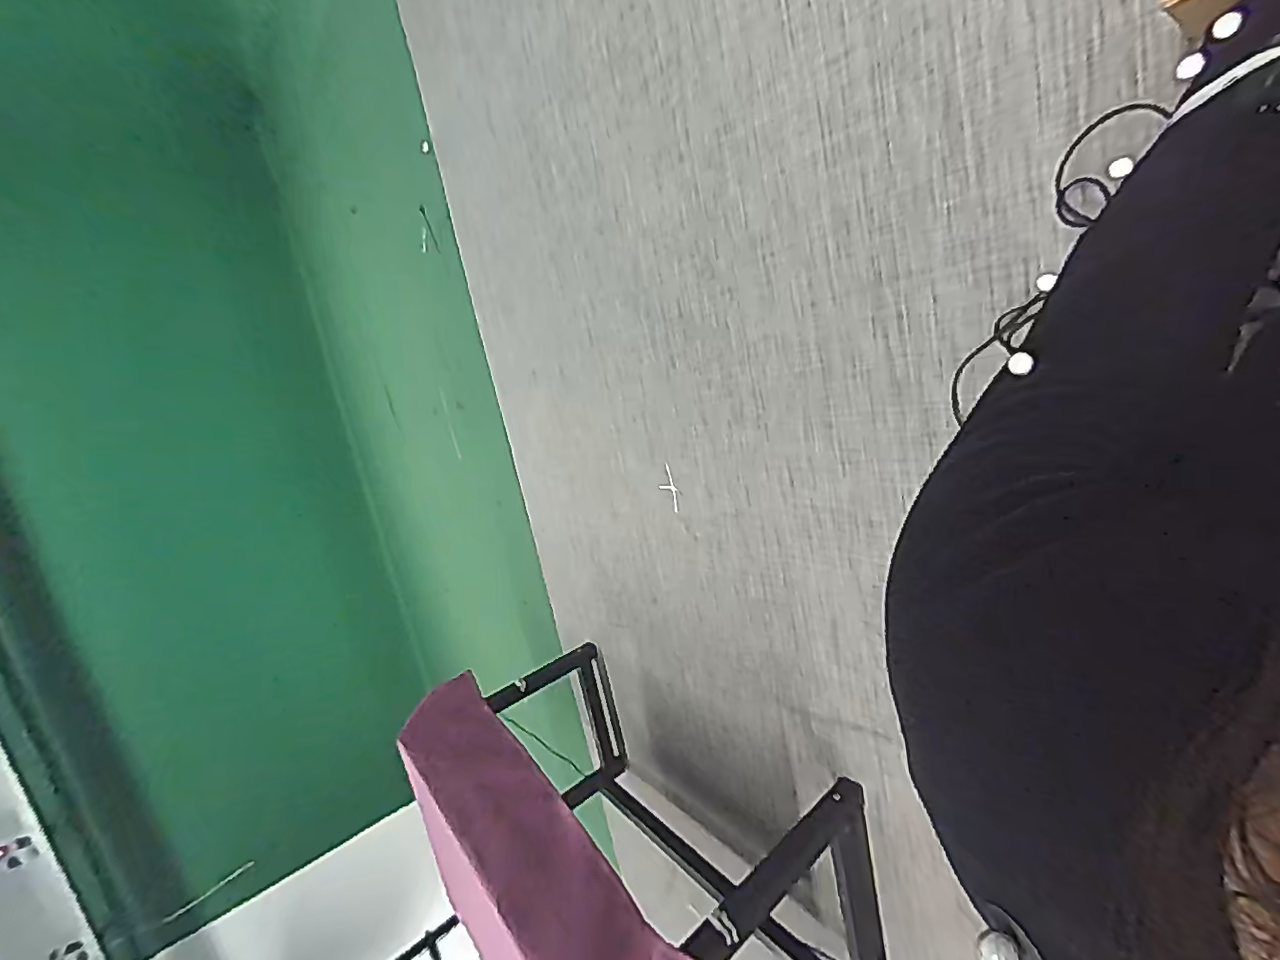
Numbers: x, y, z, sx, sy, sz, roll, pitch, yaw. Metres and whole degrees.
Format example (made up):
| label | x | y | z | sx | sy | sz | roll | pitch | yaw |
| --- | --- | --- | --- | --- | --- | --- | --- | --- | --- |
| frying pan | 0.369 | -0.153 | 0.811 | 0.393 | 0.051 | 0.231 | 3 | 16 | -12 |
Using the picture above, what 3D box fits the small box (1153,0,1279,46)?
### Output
| label | x | y | z | sx | sy | sz | roll | pitch | yaw |
| --- | --- | --- | --- | --- | --- | --- | --- | --- | --- |
| small box | 0.552 | -0.504 | 0.440 | 0.168 | 0.176 | 0.179 | 8 | 113 | 52 |
